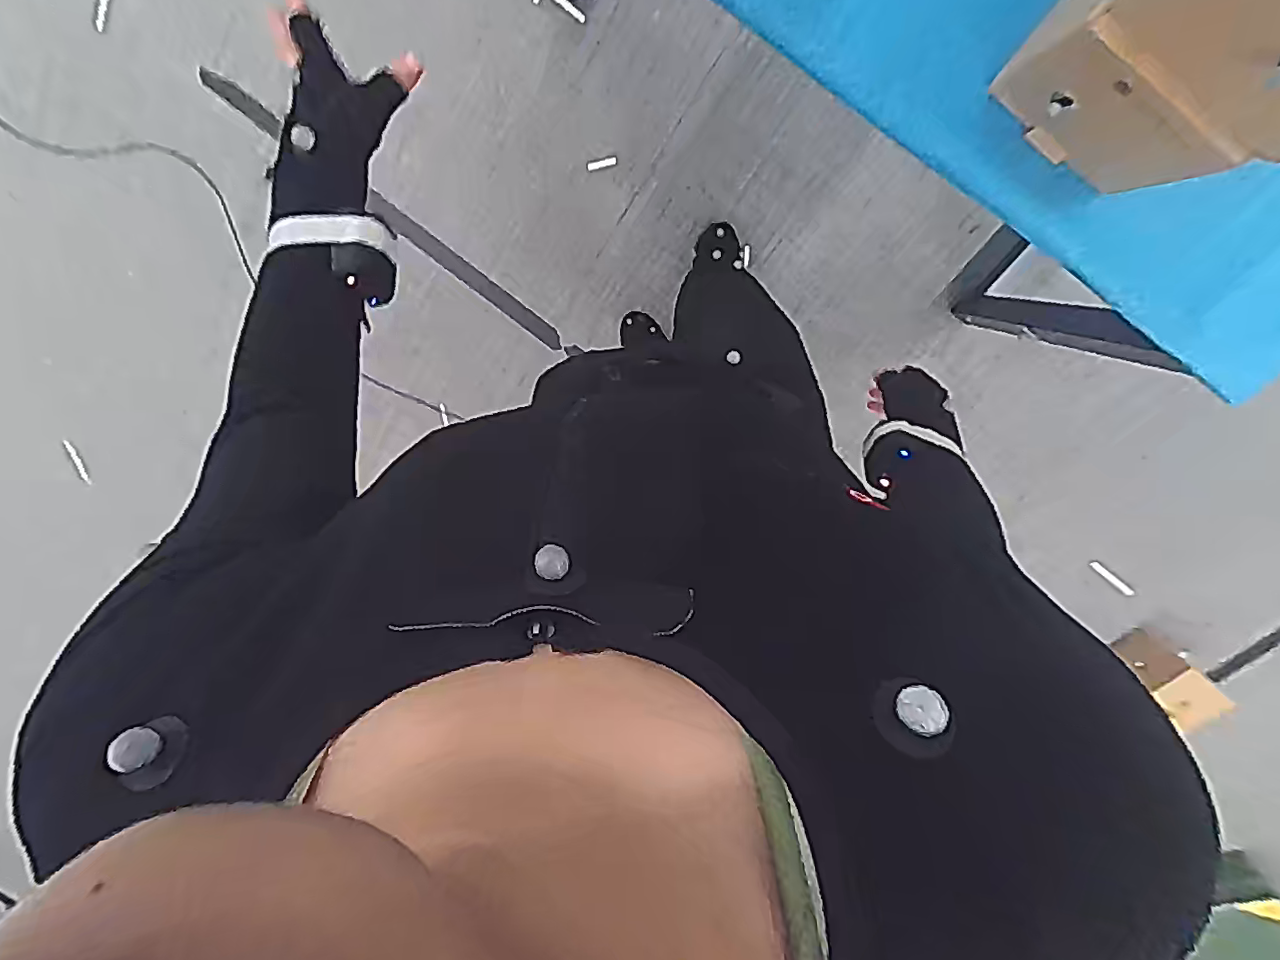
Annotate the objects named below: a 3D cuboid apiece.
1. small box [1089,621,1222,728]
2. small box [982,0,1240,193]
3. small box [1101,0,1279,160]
[{"bbox_3d":[1.380,0.525,1.470,0.168,0.176,0.179,38,111,-8],"label":"small box"},{"bbox_3d":[0.442,-0.376,0.443,0.168,0.176,0.179,35,112,-6],"label":"small box"},{"bbox_3d":[0.429,-0.317,0.290,0.179,0.176,0.168,37,110,-5],"label":"small box"}]
